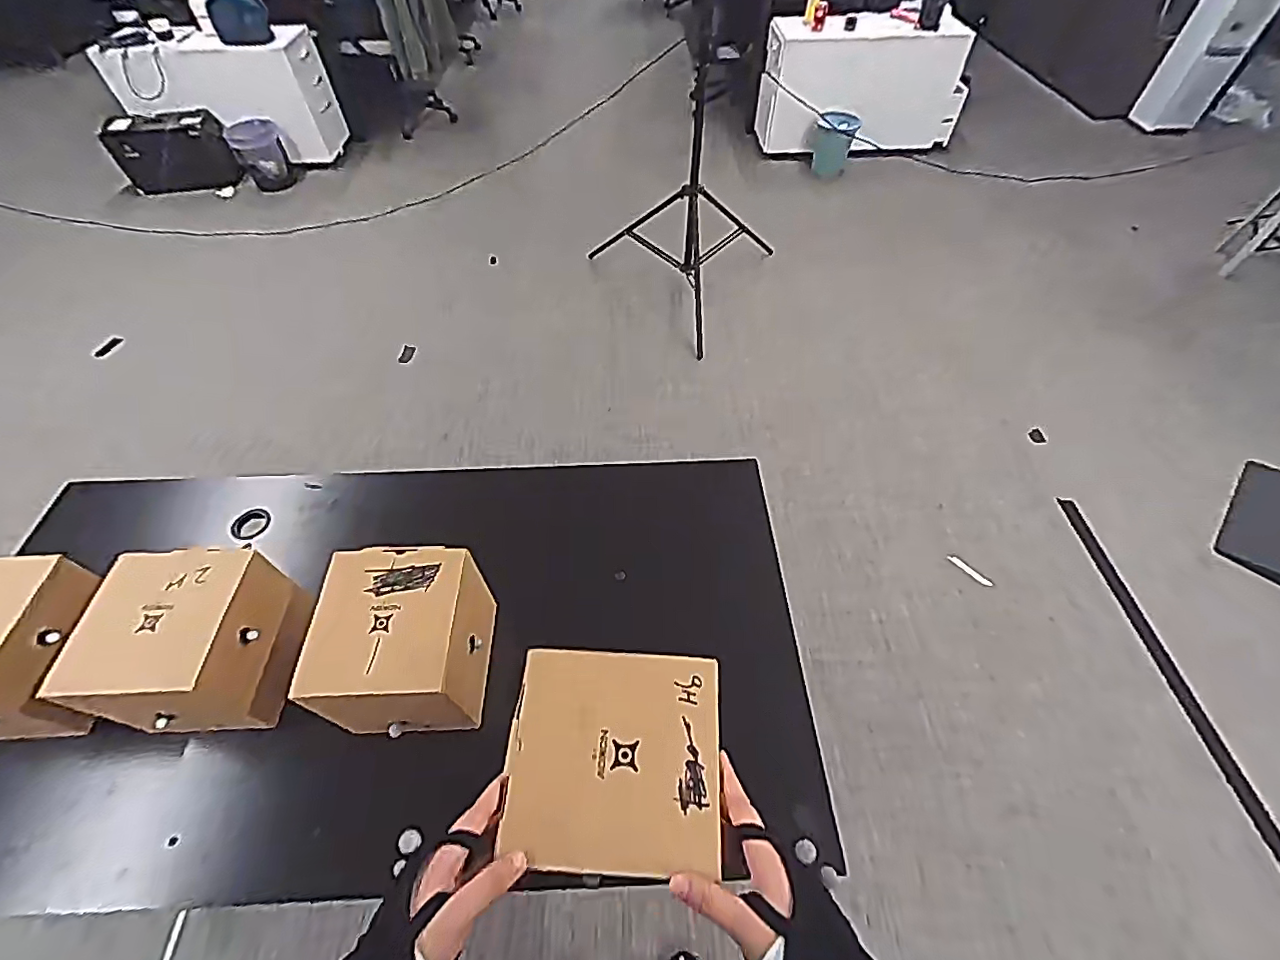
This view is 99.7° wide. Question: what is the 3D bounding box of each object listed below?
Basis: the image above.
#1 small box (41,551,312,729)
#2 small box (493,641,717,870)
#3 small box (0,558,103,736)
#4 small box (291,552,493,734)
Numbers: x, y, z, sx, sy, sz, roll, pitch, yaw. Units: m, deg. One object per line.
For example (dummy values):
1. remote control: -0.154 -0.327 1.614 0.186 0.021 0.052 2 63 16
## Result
1. small box: -0.556 0.208 0.686 0.168 0.176 0.179 -1 53 -1
2. small box: -0.020 0.266 0.520 0.179 0.176 0.168 3 57 3
3. small box: -0.796 0.217 0.684 0.168 0.176 0.179 -2 52 -2
4. small box: -0.291 0.208 0.685 0.168 0.176 0.179 -2 54 -1
